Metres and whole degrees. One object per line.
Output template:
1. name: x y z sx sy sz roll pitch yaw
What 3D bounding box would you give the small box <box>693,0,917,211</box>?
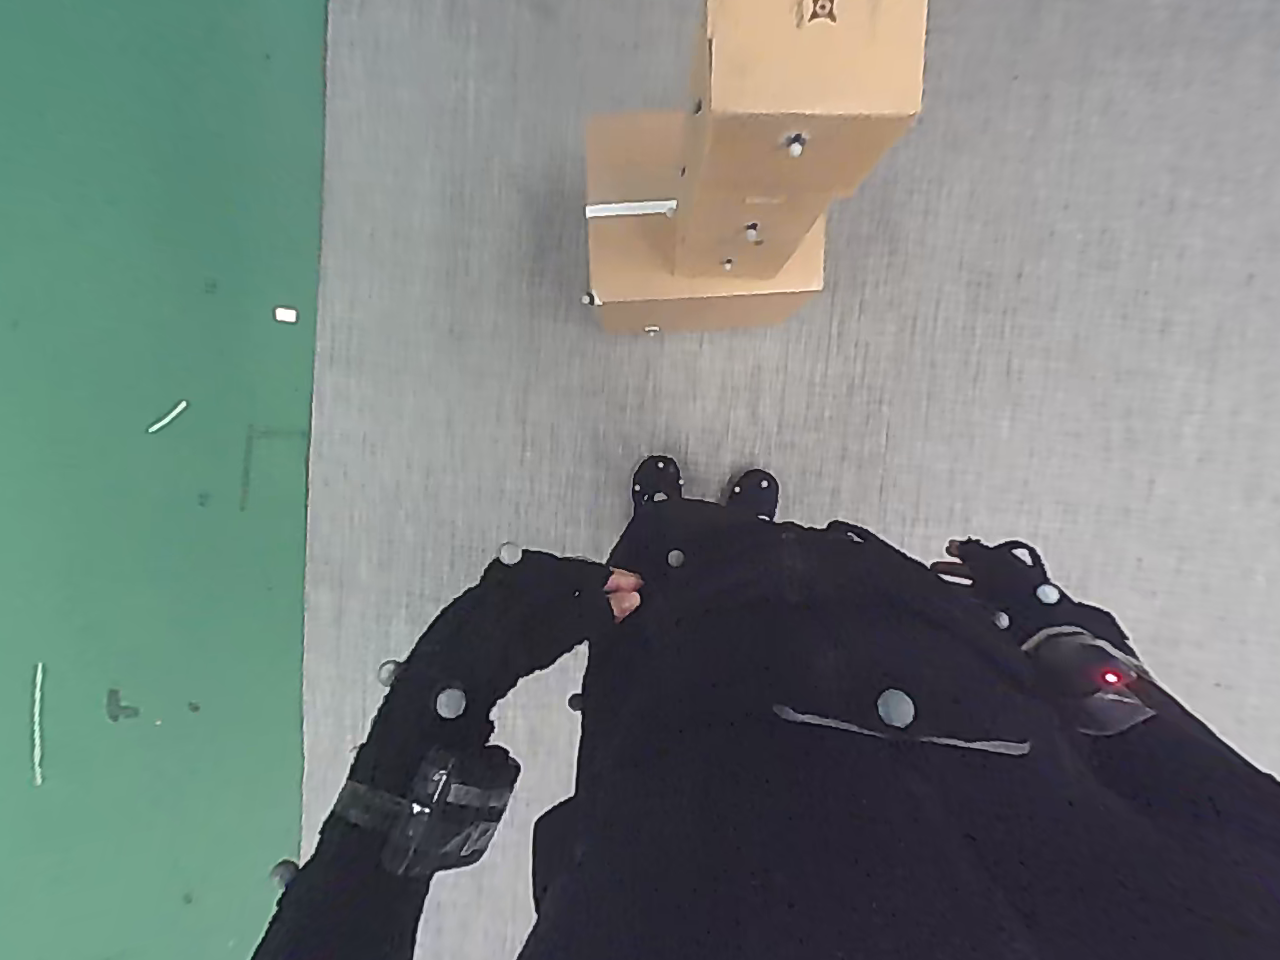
1. small box: 0.145 -0.382 0.533 0.179 0.176 0.168 1 95 1

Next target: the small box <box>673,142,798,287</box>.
1. small box: 0.146 -0.413 0.857 0.179 0.176 0.168 2 94 2
